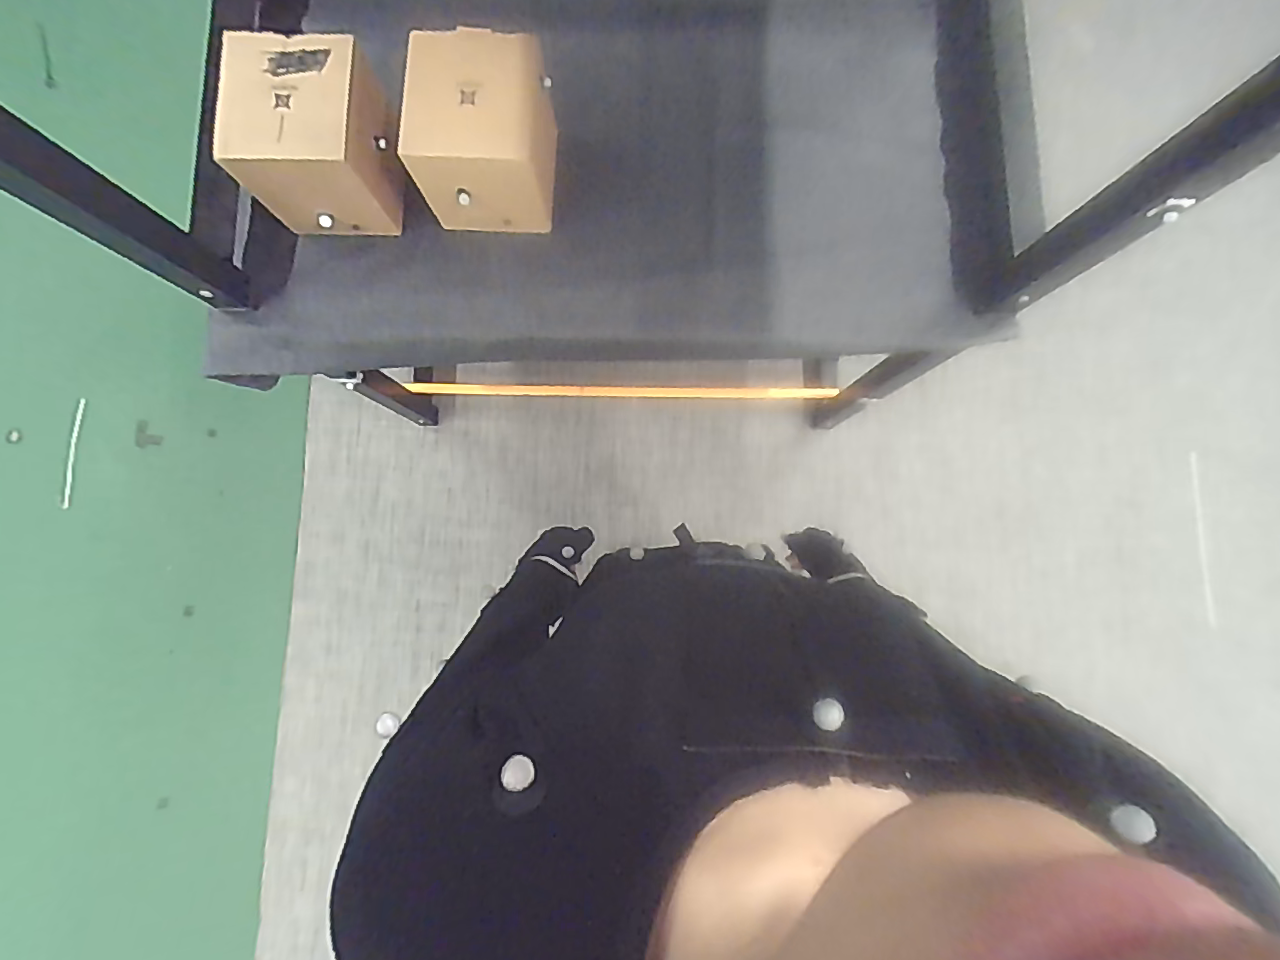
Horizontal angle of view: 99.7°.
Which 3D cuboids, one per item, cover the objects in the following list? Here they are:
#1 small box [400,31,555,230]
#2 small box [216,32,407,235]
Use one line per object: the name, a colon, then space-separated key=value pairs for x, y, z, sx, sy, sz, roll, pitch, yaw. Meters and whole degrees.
small box: x=-0.216 y=-0.479 z=0.764 sx=0.168 sy=0.176 sz=0.179 roll=2 pitch=82 yaw=0
small box: x=-0.443 y=-0.475 z=0.760 sx=0.168 sy=0.176 sz=0.179 roll=1 pitch=83 yaw=0
